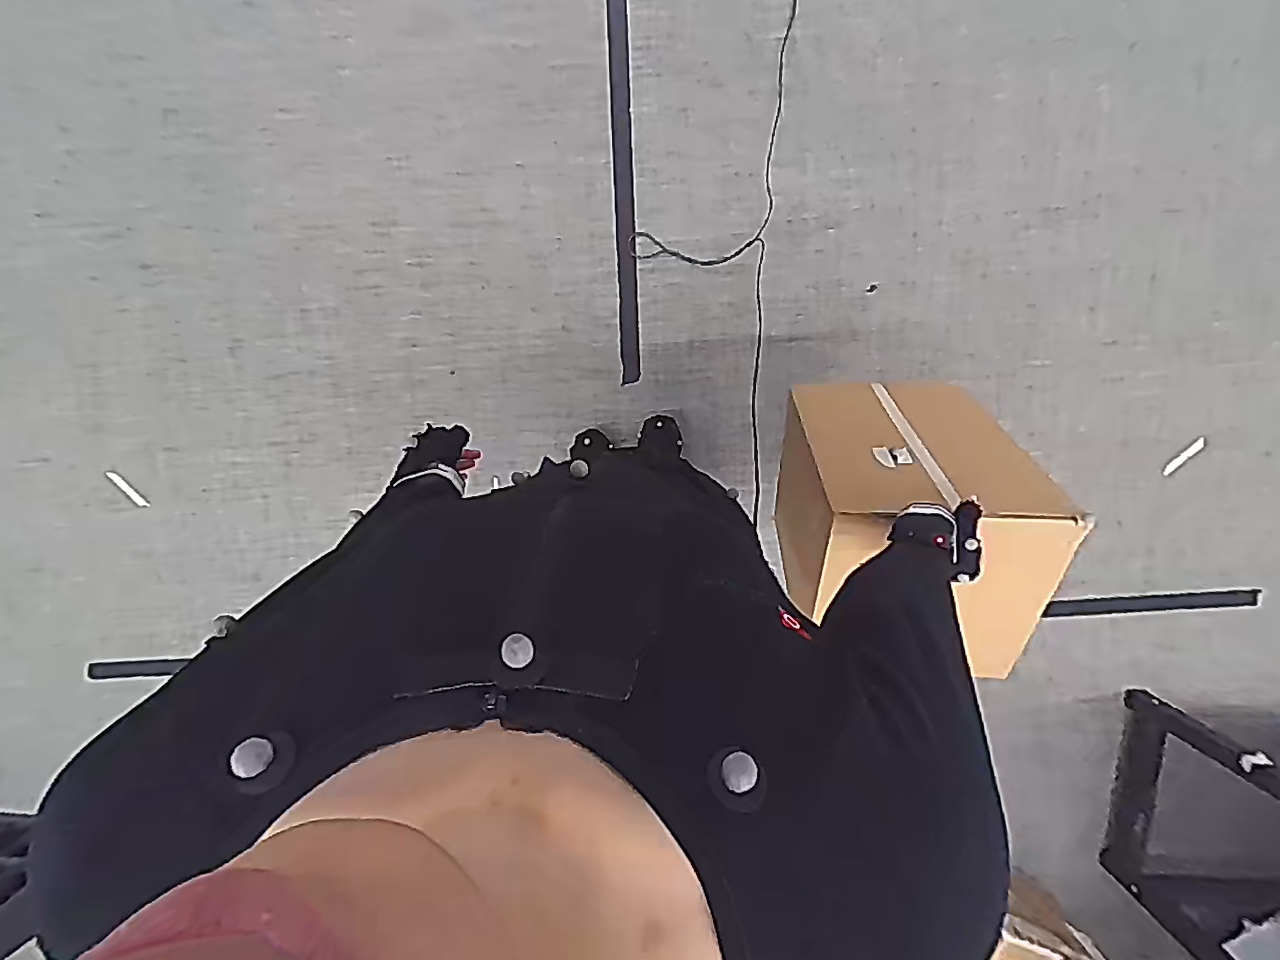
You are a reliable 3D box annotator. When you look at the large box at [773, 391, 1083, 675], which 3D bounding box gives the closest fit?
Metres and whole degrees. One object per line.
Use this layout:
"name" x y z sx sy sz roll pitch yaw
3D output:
"large box" 0.431 0.072 0.945 0.320 0.408 0.320 0 125 5
